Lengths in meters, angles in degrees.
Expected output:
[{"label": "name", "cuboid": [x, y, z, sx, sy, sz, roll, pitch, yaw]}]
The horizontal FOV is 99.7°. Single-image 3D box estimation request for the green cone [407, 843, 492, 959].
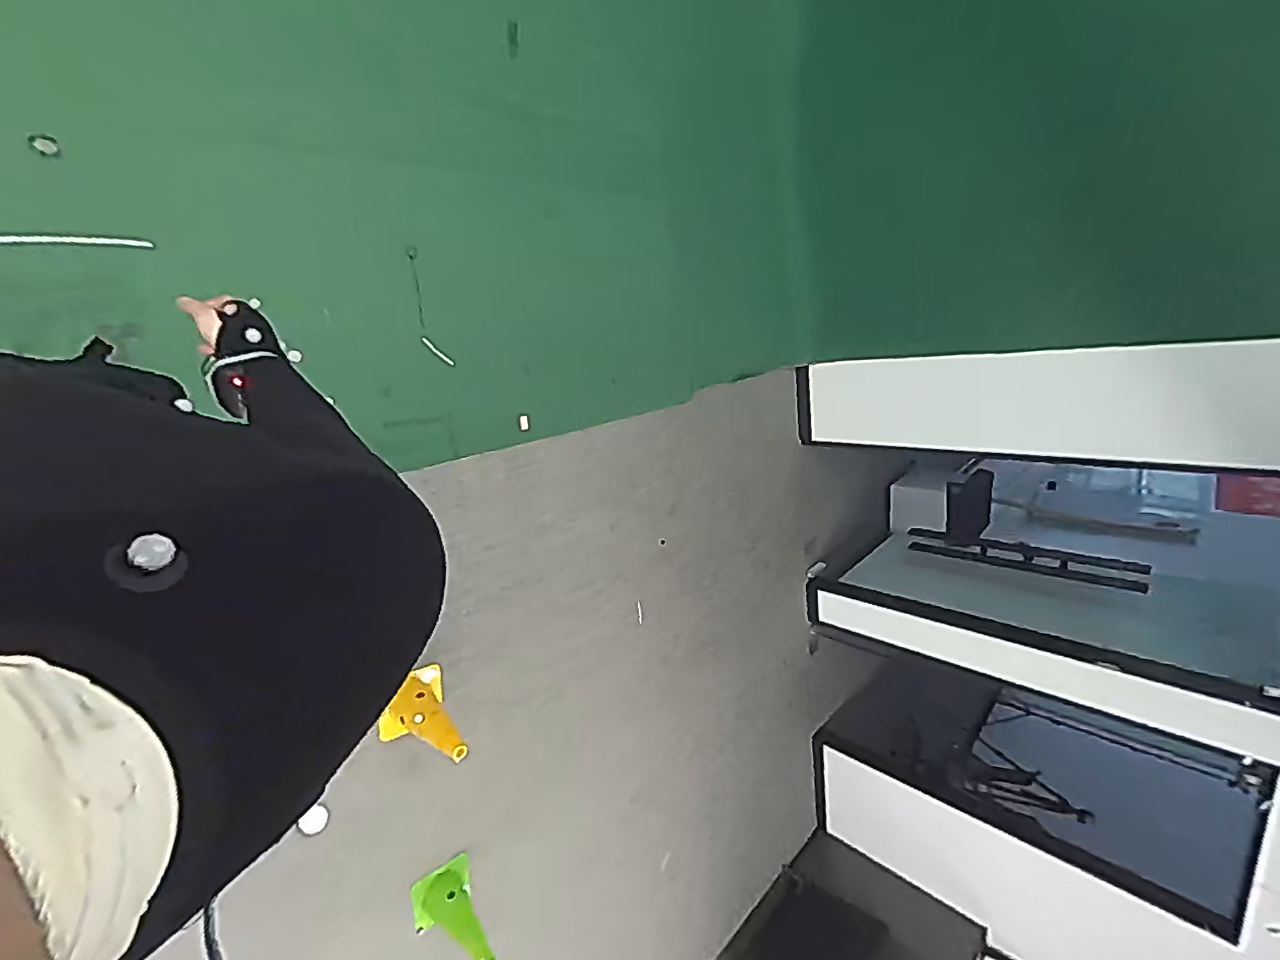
[{"label": "green cone", "cuboid": [-0.593, 1.433, 1.785, 0.200, 0.368, 0.202, -13, 105, -43]}]
